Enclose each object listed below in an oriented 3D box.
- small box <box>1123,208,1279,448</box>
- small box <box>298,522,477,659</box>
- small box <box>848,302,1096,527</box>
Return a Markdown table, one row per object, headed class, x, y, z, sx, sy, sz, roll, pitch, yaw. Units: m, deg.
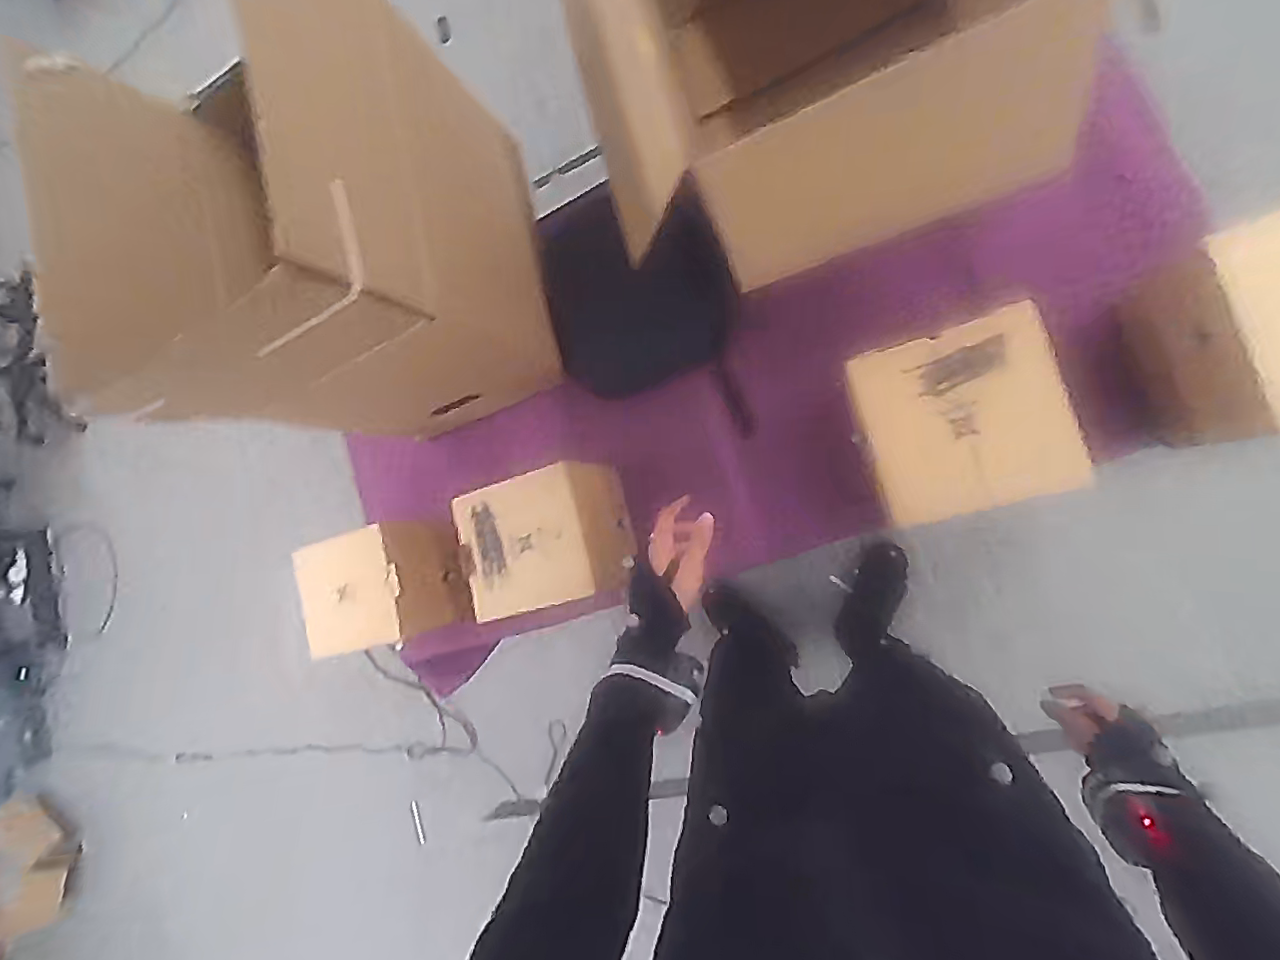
| class | x | y | z | sx | sy | sz | roll | pitch | yaw |
| --- | --- | --- | --- | --- | --- | --- | --- | --- | --- |
| small box | 0.583 | -0.137 | 0.478 | 0.168 | 0.176 | 0.179 | -17 | 83 | 21 |
| small box | -0.388 | 0.165 | 0.847 | 0.179 | 0.176 | 0.168 | -17 | 83 | 19 |
| small box | 0.328 | -0.056 | 0.577 | 0.168 | 0.176 | 0.179 | -17 | 84 | 20 |
